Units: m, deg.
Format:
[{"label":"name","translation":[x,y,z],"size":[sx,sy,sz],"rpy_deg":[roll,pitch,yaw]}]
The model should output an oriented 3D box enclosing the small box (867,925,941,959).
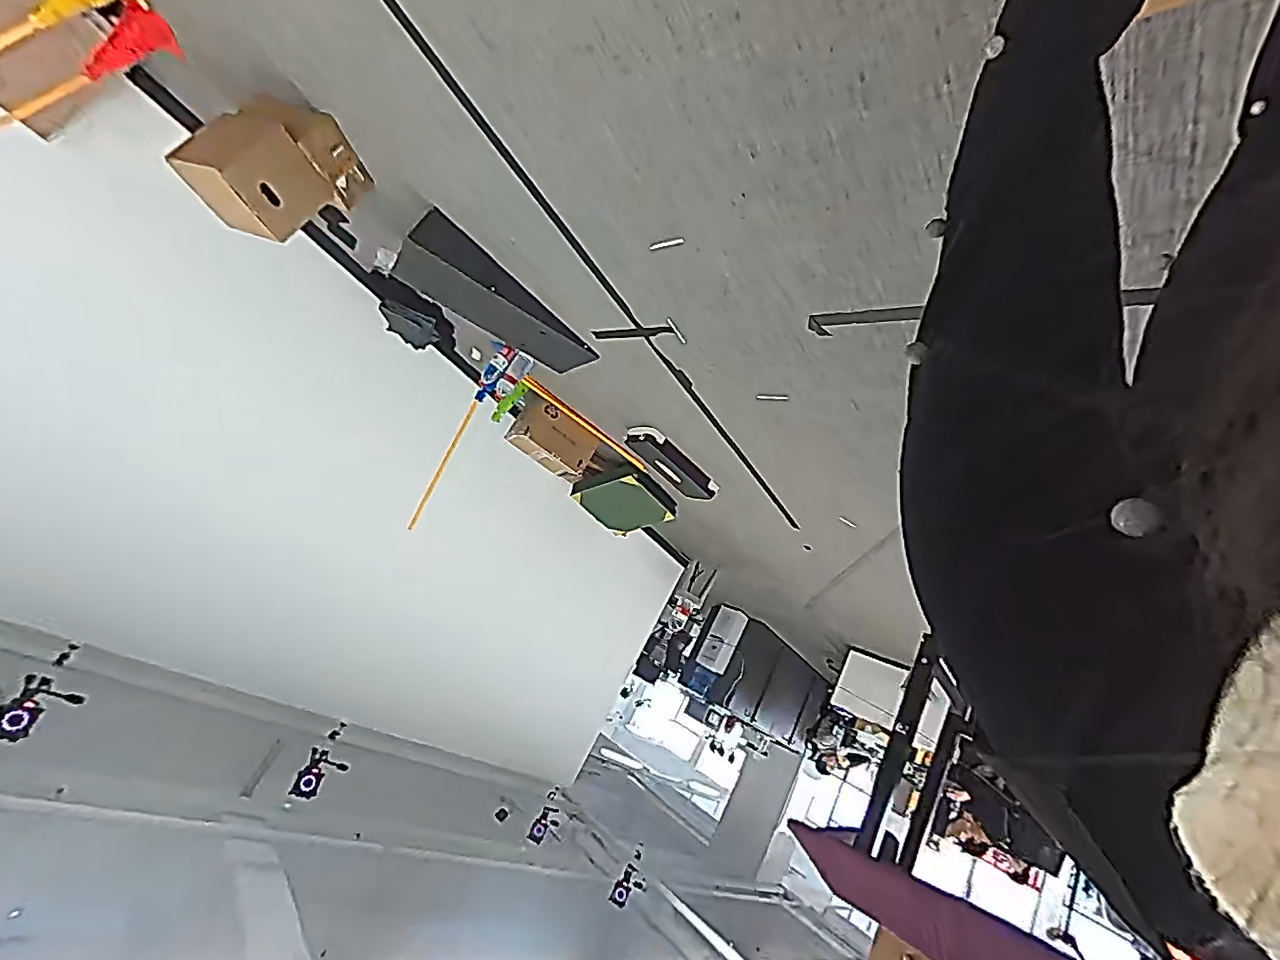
[{"label":"small box","translation":[0.679,1.274,1.370],"size":[0.179,0.176,0.168],"rpy_deg":[14,157,44]}]
